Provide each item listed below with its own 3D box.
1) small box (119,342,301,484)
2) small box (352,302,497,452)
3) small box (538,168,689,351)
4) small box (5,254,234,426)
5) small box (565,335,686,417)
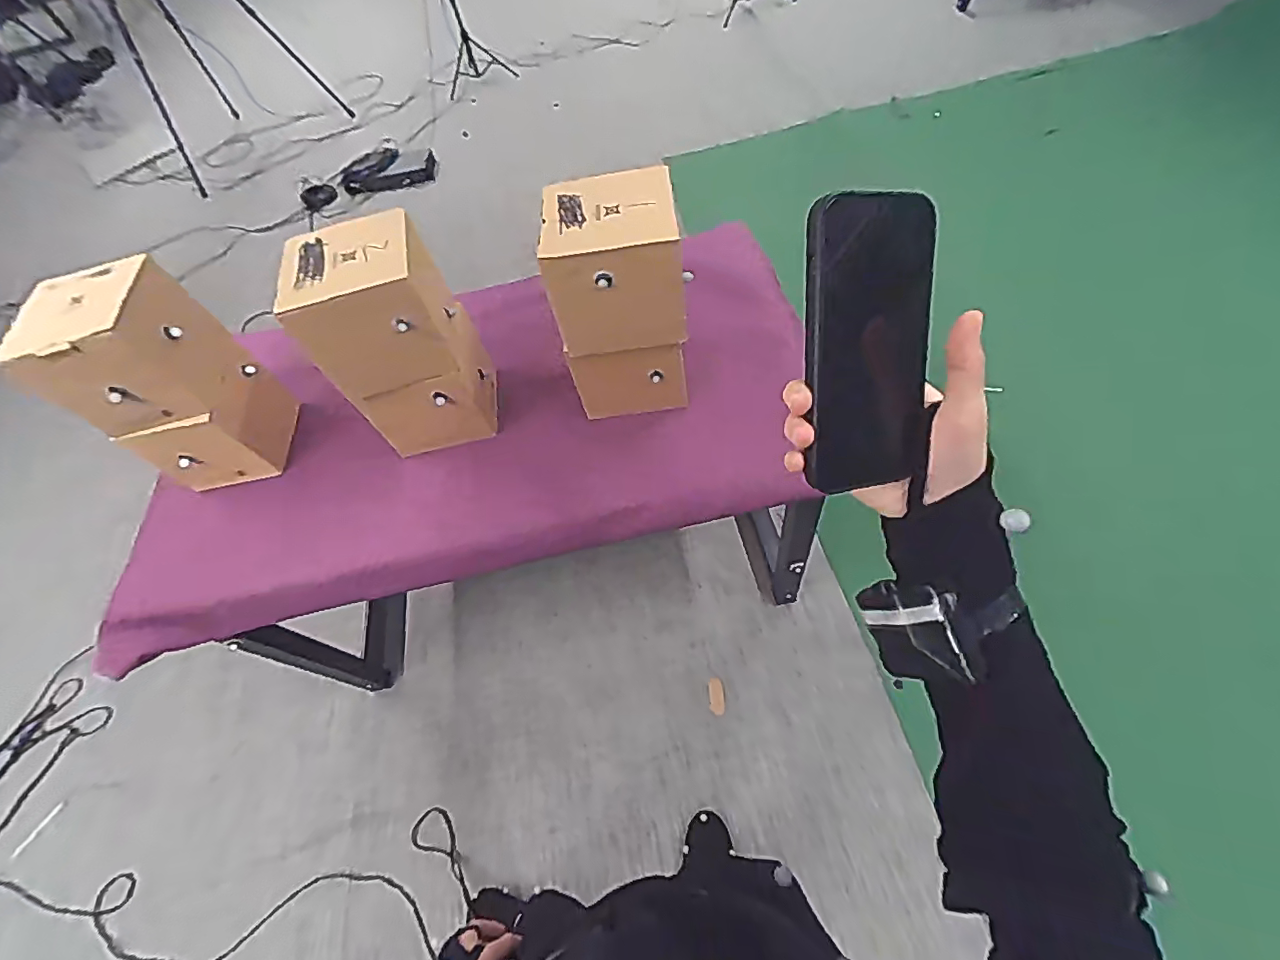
[{"bbox_3d":[-0.738,-0.108,0.953,0.168,0.176,0.179,-11,57,3],"label":"small box"},{"bbox_3d":[-0.353,-0.170,0.924,0.179,0.176,0.168,-12,57,3],"label":"small box"},{"bbox_3d":[-0.030,-0.299,0.758,0.179,0.176,0.168,-6,58,5],"label":"small box"},{"bbox_3d":[-0.762,-0.201,0.819,0.168,0.176,0.179,-15,58,-1],"label":"small box"},{"bbox_3d":[-0.017,-0.225,0.904,0.179,0.176,0.168,-7,58,6],"label":"small box"}]
